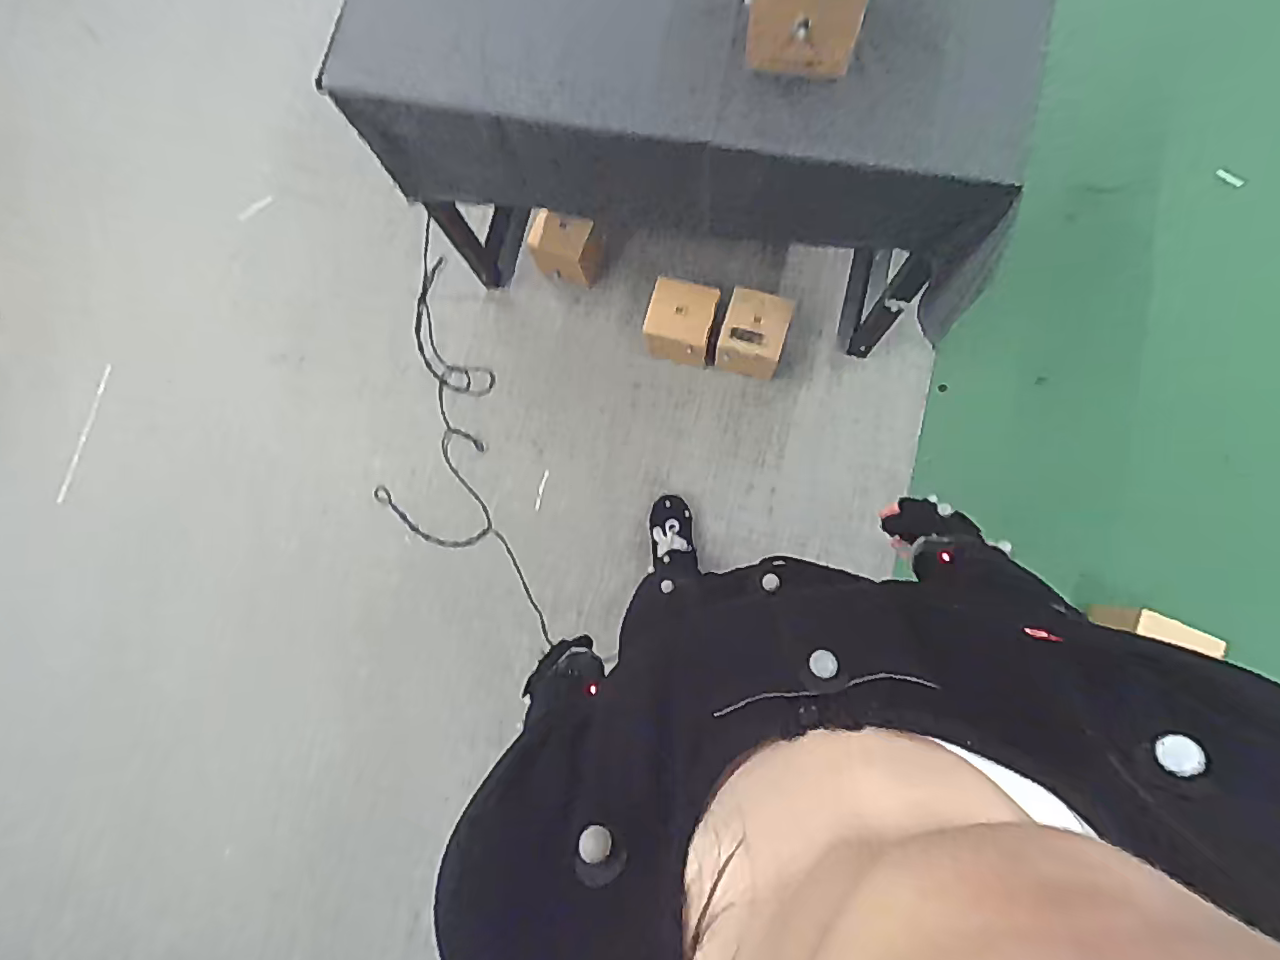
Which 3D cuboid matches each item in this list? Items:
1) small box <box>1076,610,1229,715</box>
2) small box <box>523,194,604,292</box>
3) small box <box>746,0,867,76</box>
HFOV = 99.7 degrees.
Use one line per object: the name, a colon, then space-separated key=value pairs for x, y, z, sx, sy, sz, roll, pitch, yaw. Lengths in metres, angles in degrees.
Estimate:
small box: x=1.187 y=0.414 z=1.265 sx=0.179 sy=0.176 sz=0.168 roll=23 pitch=83 yaw=10
small box: x=-0.214 y=-0.688 z=1.579 sx=0.168 sy=0.176 sz=0.179 roll=20 pitch=82 yaw=9
small box: x=0.257 y=-0.751 z=0.808 sx=0.168 sy=0.176 sz=0.179 roll=10 pitch=82 yaw=7
